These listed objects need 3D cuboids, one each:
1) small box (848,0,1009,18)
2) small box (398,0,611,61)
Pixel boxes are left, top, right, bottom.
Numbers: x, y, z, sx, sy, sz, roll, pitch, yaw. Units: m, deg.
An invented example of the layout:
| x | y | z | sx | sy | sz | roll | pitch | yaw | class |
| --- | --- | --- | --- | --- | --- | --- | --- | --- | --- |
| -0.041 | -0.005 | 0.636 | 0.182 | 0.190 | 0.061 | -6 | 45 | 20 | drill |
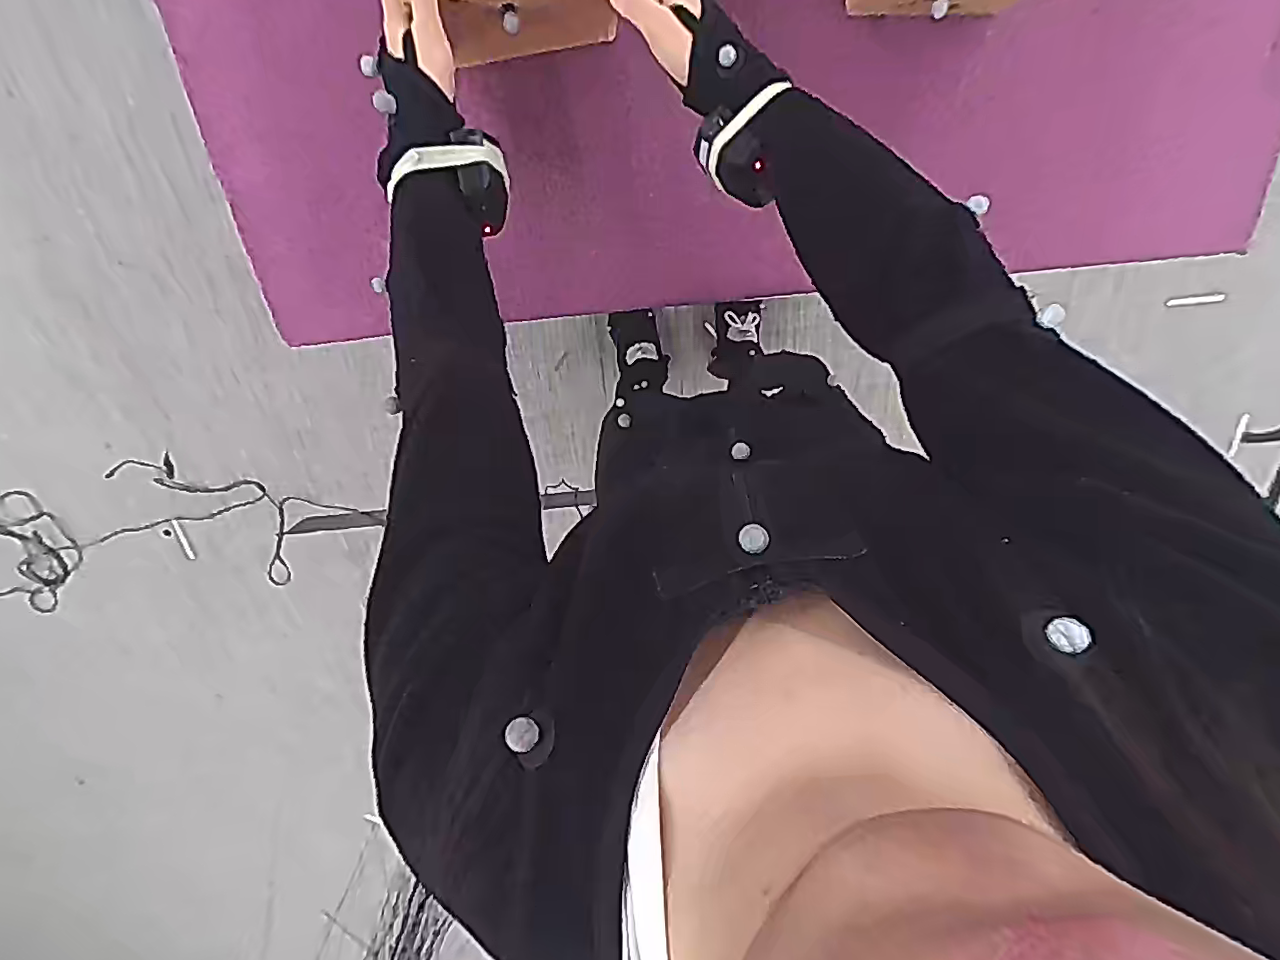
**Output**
| x | y | z | sx | sy | sz | roll | pitch | yaw | class |
| --- | --- | --- | --- | --- | --- | --- | --- | --- | --- |
| 0.293 | -0.537 | 0.462 | 0.168 | 0.176 | 0.179 | -2 | 115 | -2 | small box |
| -0.119 | -0.489 | 0.460 | 0.179 | 0.176 | 0.168 | -9 | 115 | 1 | small box |
